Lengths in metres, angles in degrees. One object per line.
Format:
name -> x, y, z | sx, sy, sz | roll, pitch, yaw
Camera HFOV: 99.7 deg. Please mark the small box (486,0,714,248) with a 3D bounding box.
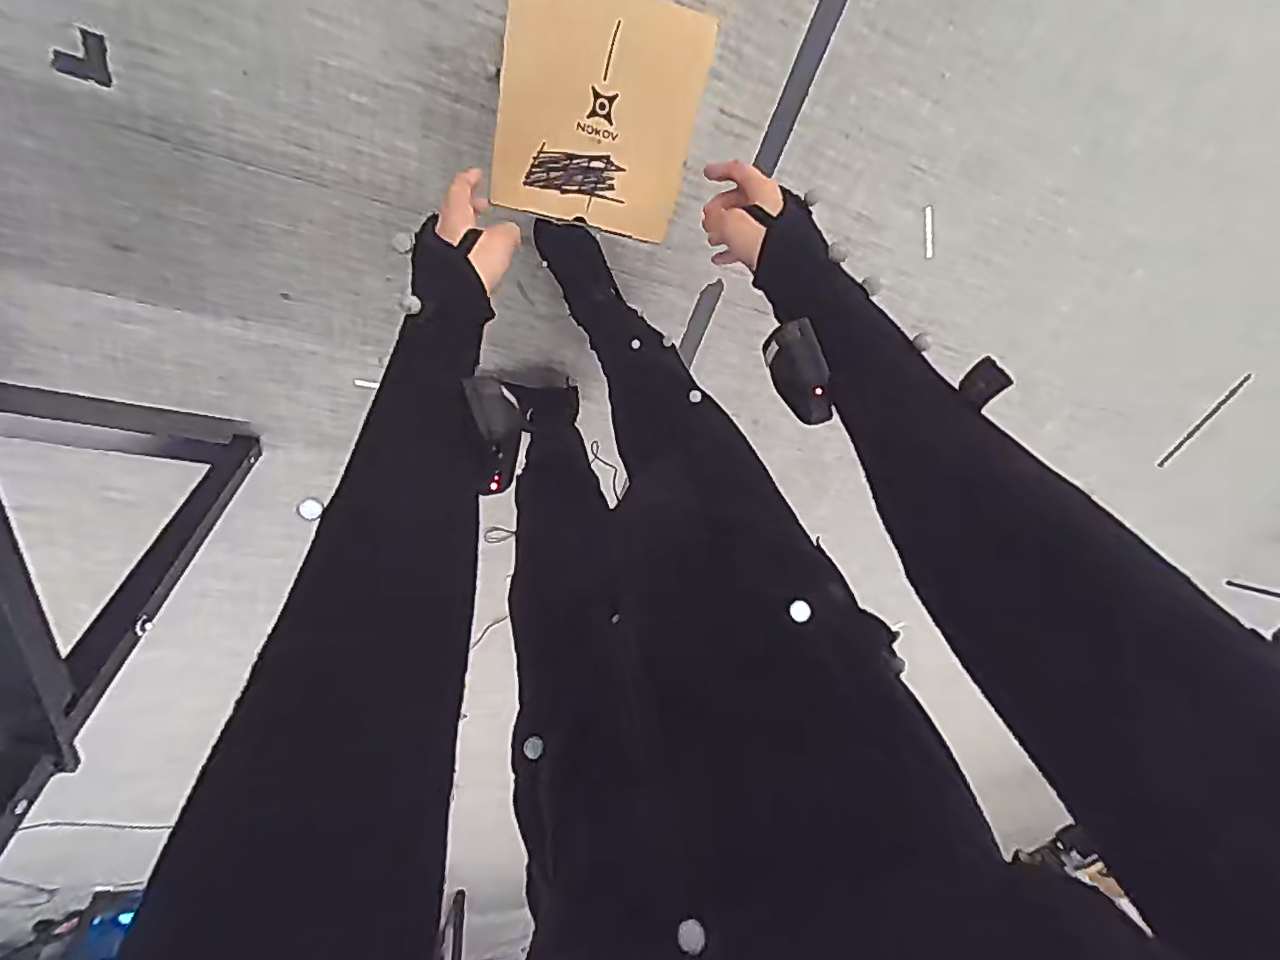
small box -> -0.051, -0.350, 0.519 | 0.168, 0.176, 0.179 | 6, 125, -17
